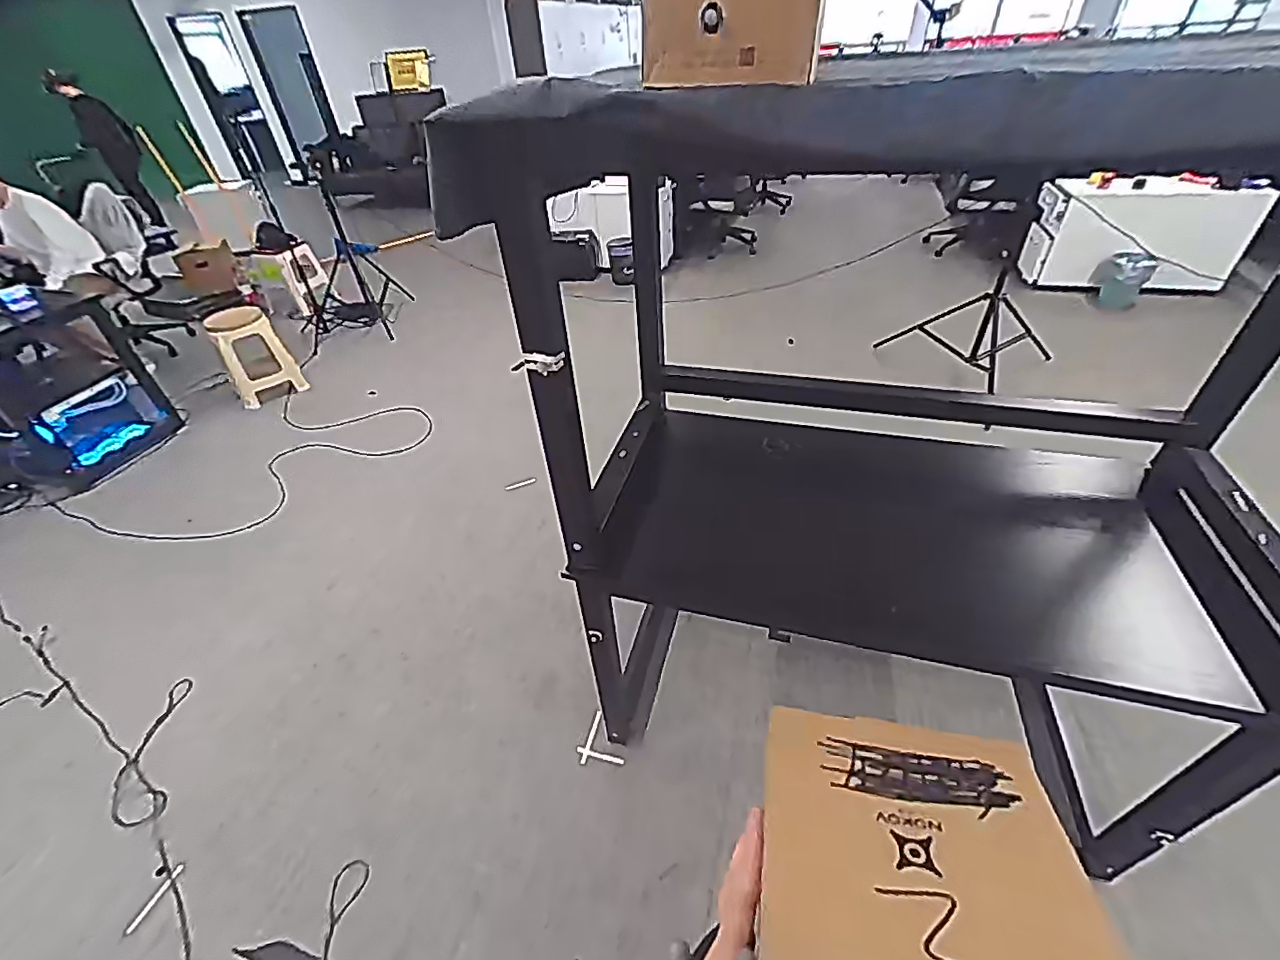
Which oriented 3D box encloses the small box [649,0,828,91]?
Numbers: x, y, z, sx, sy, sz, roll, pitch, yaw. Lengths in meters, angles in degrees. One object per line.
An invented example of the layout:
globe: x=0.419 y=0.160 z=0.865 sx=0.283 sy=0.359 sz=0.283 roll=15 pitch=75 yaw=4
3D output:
small box: x=0.104 y=-0.500 z=0.541 sx=0.168 sy=0.176 sz=0.179 roll=8 pitch=40 yaw=13
